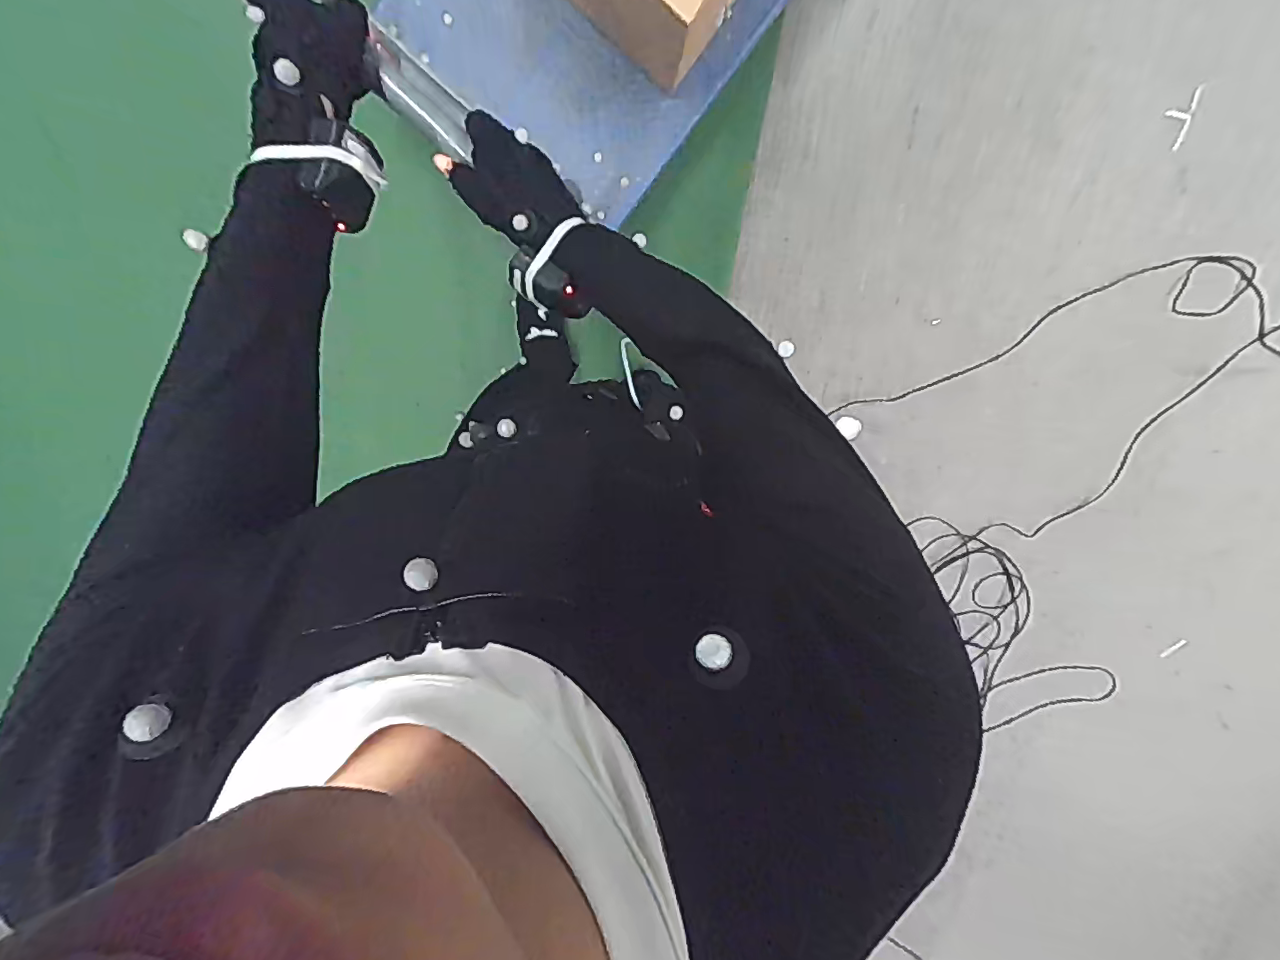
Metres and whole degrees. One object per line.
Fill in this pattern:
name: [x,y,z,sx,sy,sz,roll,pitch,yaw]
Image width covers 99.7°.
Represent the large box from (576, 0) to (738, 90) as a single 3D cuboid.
large box: [0.010,-0.932,0.841,0.408,0.320,0.320,36,104,-13]
